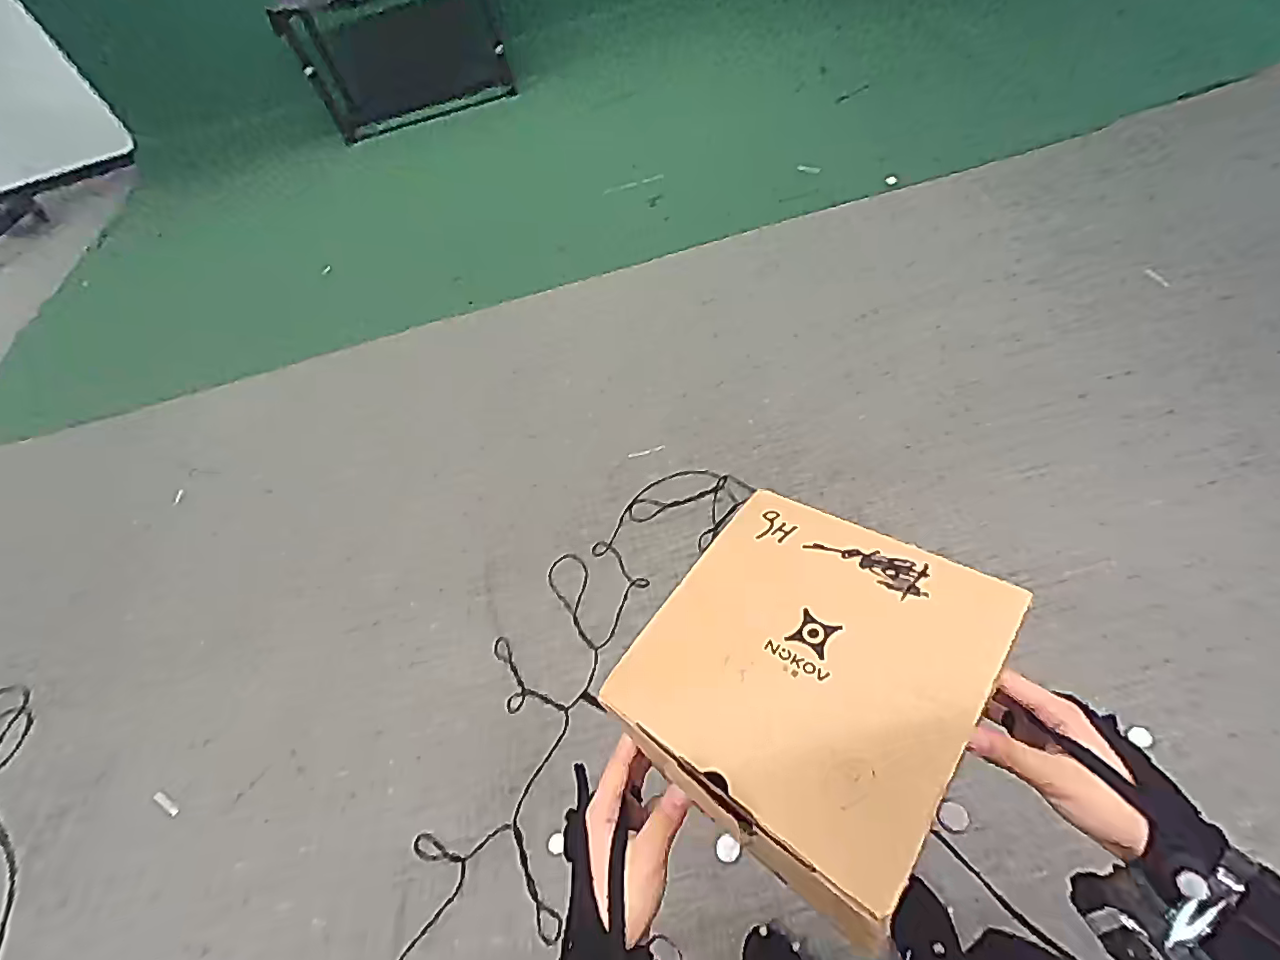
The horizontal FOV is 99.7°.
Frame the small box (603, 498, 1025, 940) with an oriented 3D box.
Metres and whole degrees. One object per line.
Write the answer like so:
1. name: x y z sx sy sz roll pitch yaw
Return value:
1. small box: 0.111 0.149 0.350 0.168 0.176 0.179 25 61 37
